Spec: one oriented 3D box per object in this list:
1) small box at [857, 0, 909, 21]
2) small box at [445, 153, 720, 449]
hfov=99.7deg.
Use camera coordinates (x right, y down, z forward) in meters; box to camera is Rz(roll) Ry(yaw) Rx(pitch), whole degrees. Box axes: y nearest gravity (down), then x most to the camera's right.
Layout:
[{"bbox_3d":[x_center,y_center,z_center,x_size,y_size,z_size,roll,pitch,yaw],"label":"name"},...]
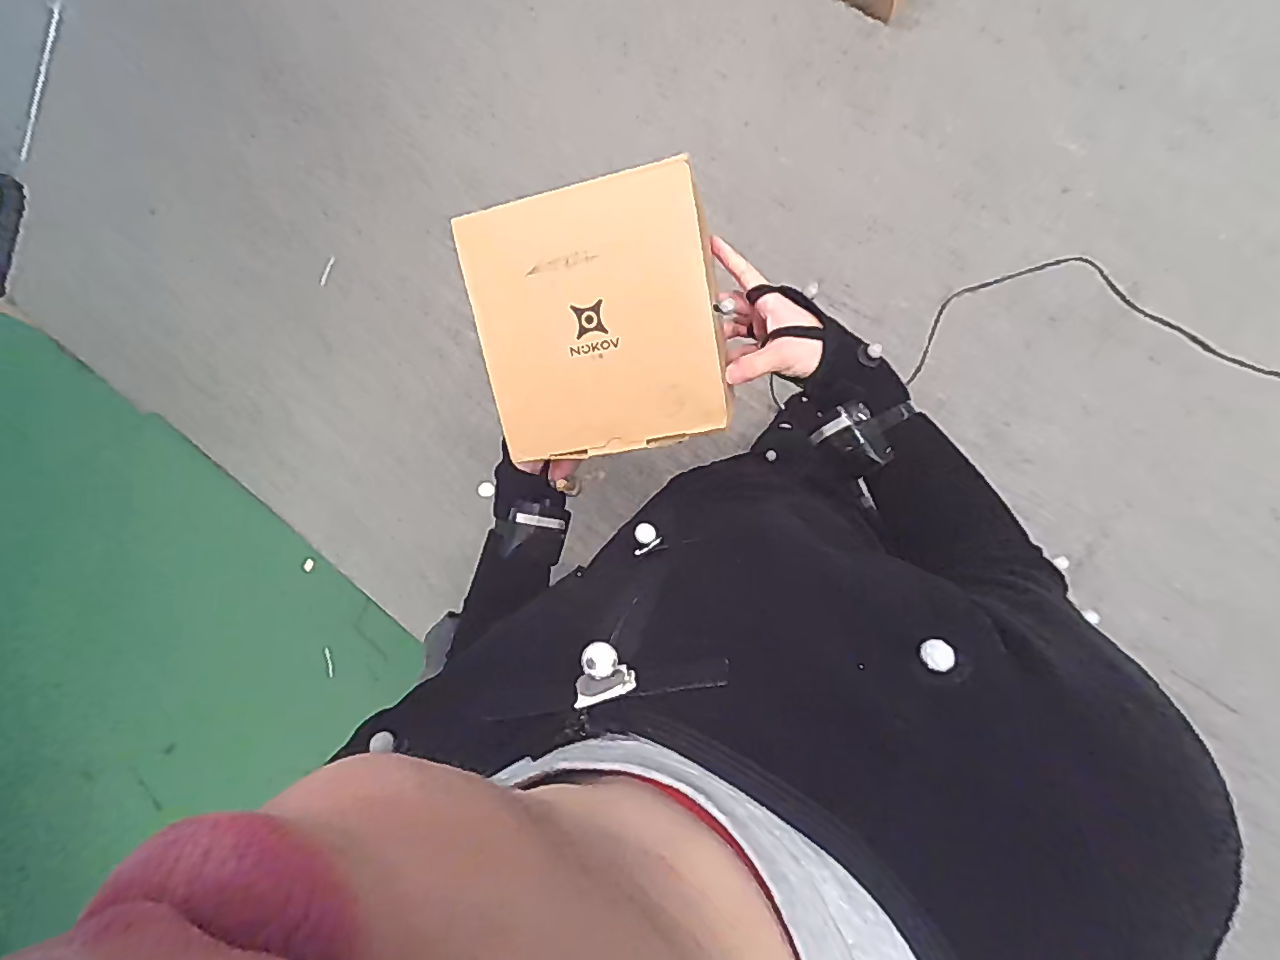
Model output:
[{"bbox_3d":[0.559,-1.181,1.191,0.168,0.176,0.179,39,107,9],"label":"small box"},{"bbox_3d":[-0.028,-0.138,0.457,0.168,0.176,0.179,-9,103,13],"label":"small box"}]
